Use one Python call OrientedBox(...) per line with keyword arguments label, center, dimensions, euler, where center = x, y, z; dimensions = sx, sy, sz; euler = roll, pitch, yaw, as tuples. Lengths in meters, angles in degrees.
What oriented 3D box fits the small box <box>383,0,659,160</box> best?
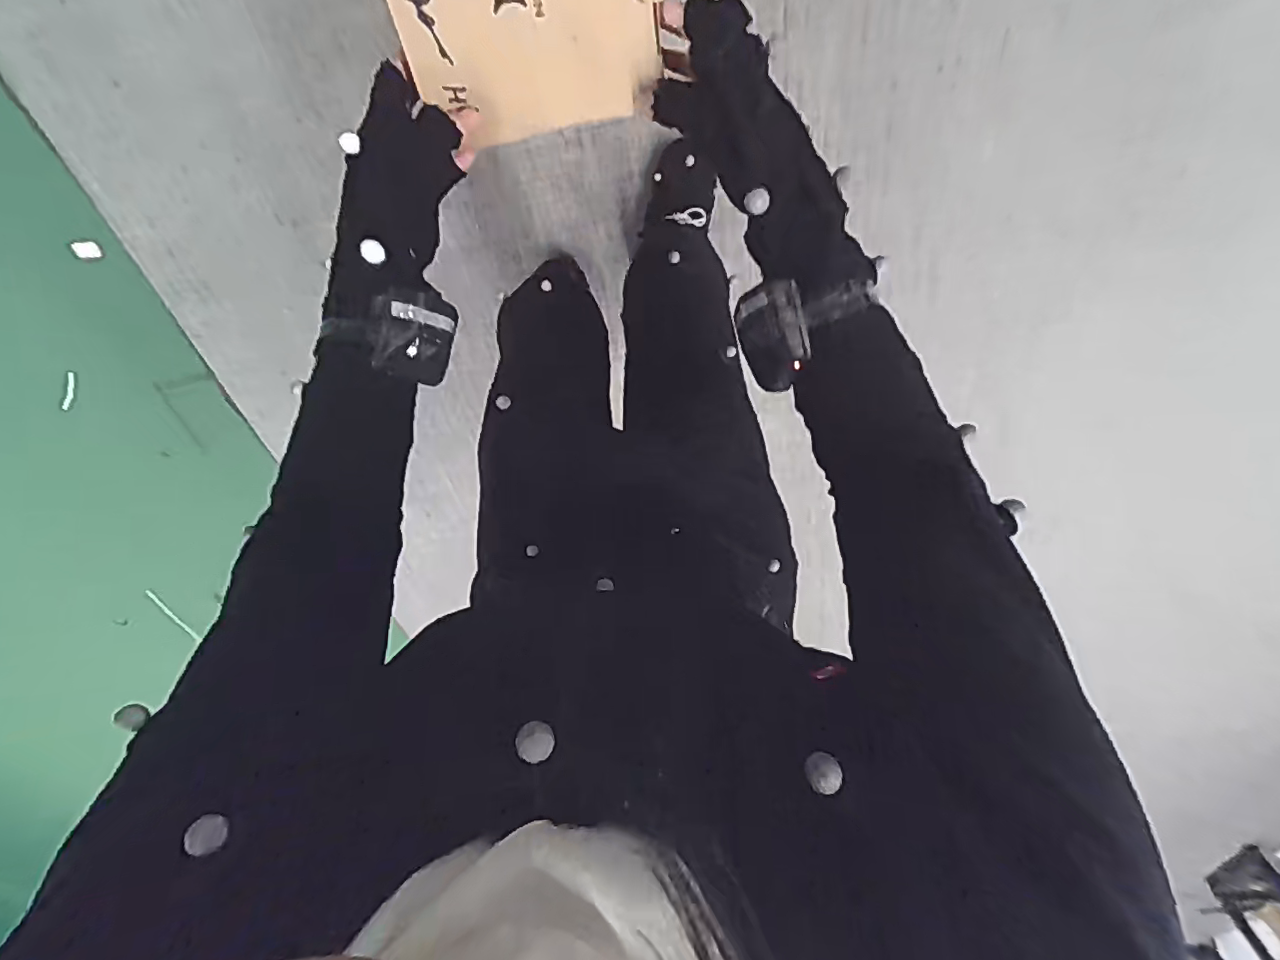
OrientedBox(label="small box", center=(-0.086, -0.370, 0.423), dimensions=(0.179, 0.176, 0.168), euler=(-8, 128, 4))
